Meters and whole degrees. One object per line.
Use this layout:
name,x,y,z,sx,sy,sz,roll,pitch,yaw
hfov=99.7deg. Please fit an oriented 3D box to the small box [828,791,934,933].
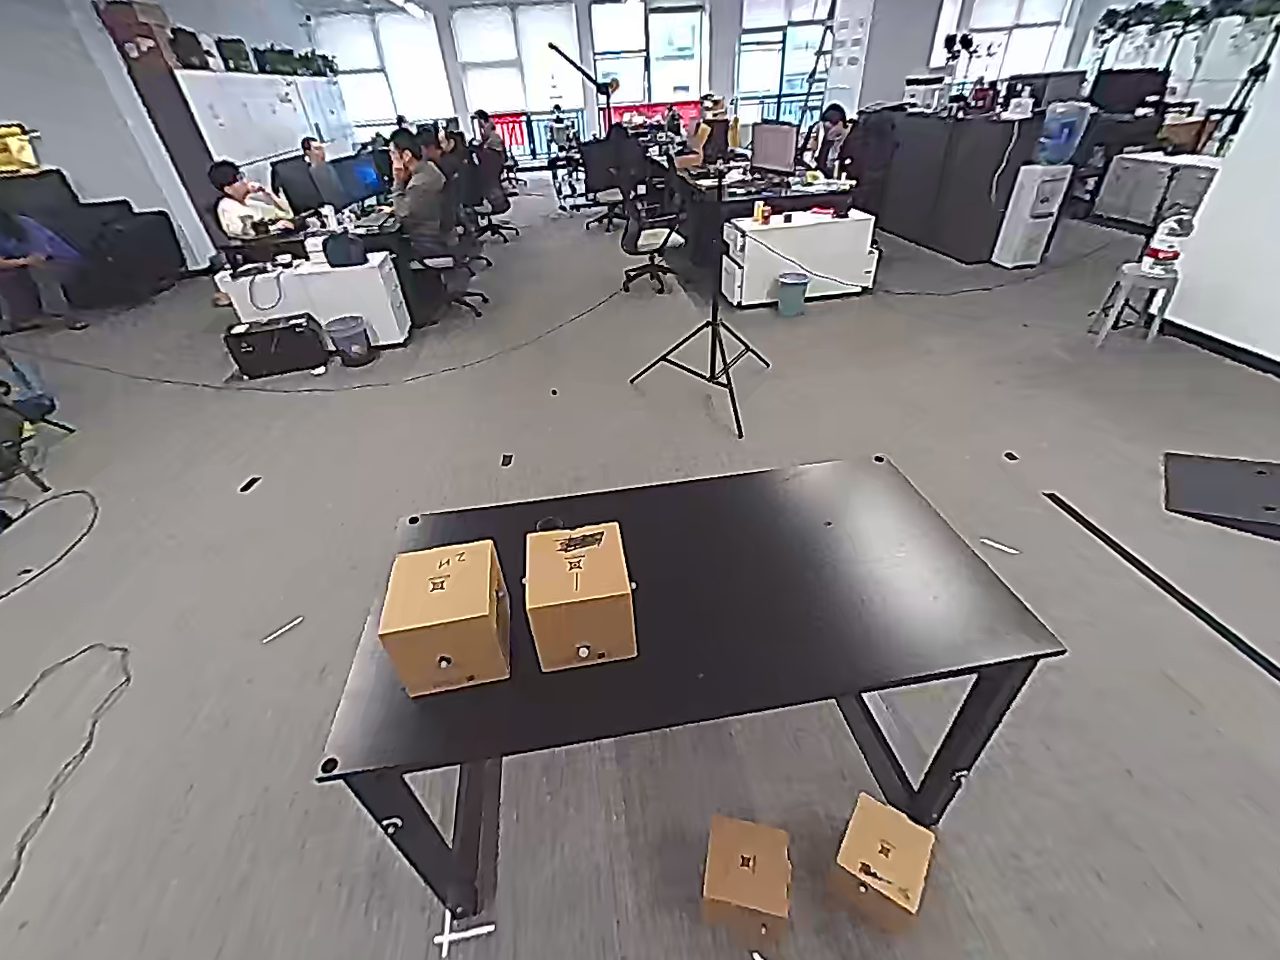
small box,0.540,0.862,1.224,0.168,0.176,0.179,20,43,29

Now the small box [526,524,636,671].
small box,-0.103,0.204,0.950,0.168,0.176,0.179,-8,37,-5

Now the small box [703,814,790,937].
small box,0.238,0.892,1.217,0.179,0.176,0.168,4,37,12
